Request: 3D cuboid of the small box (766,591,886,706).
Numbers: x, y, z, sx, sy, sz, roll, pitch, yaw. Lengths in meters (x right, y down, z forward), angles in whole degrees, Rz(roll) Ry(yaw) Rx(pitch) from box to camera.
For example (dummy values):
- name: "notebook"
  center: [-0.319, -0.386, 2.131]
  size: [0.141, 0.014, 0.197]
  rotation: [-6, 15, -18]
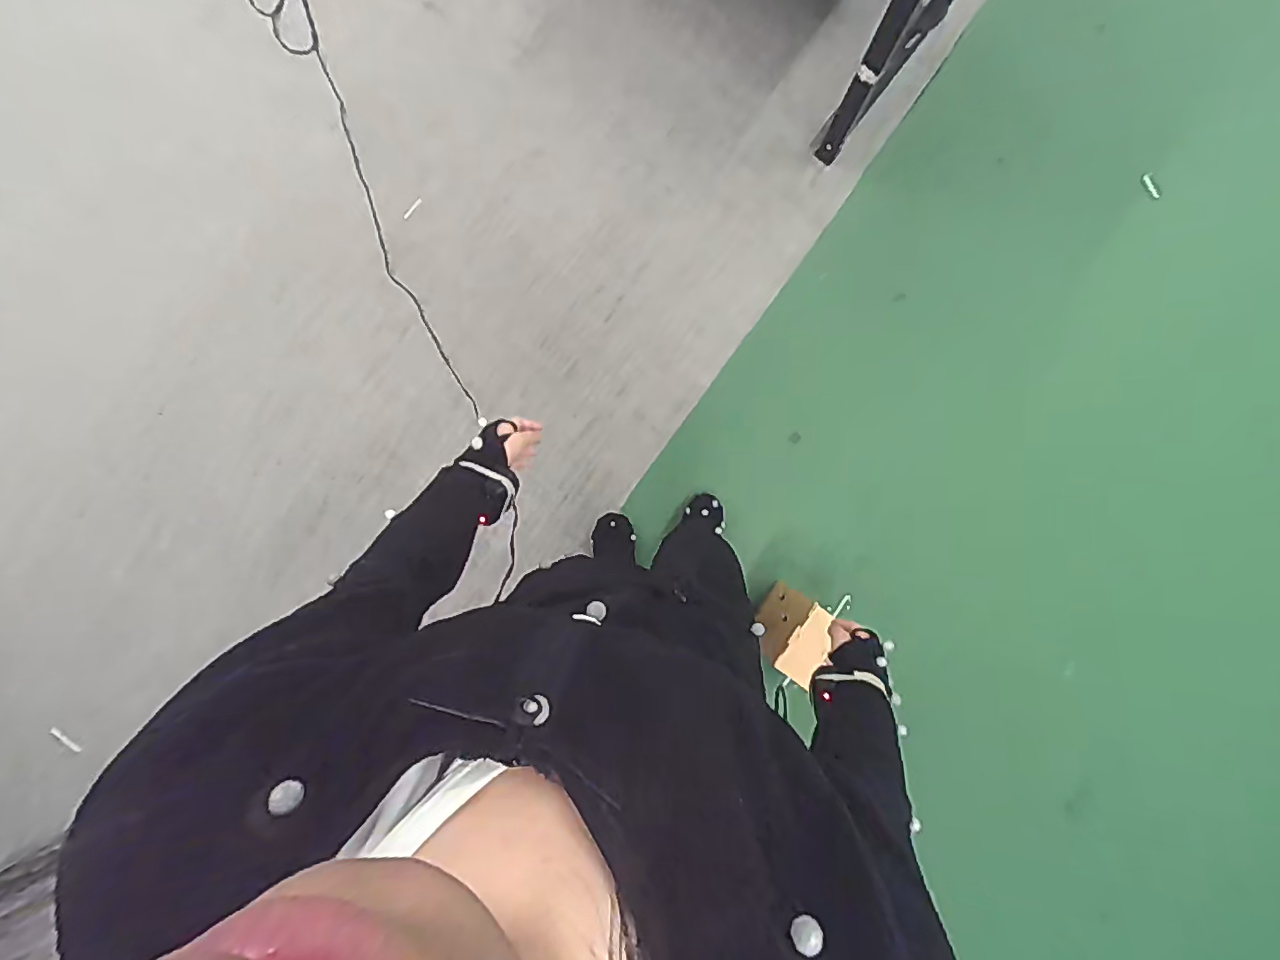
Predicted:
- name: "small box"
  center: [0.422, 0.379, 1.254]
  size: [0.179, 0.176, 0.168]
  rotation: [35, 90, 2]
